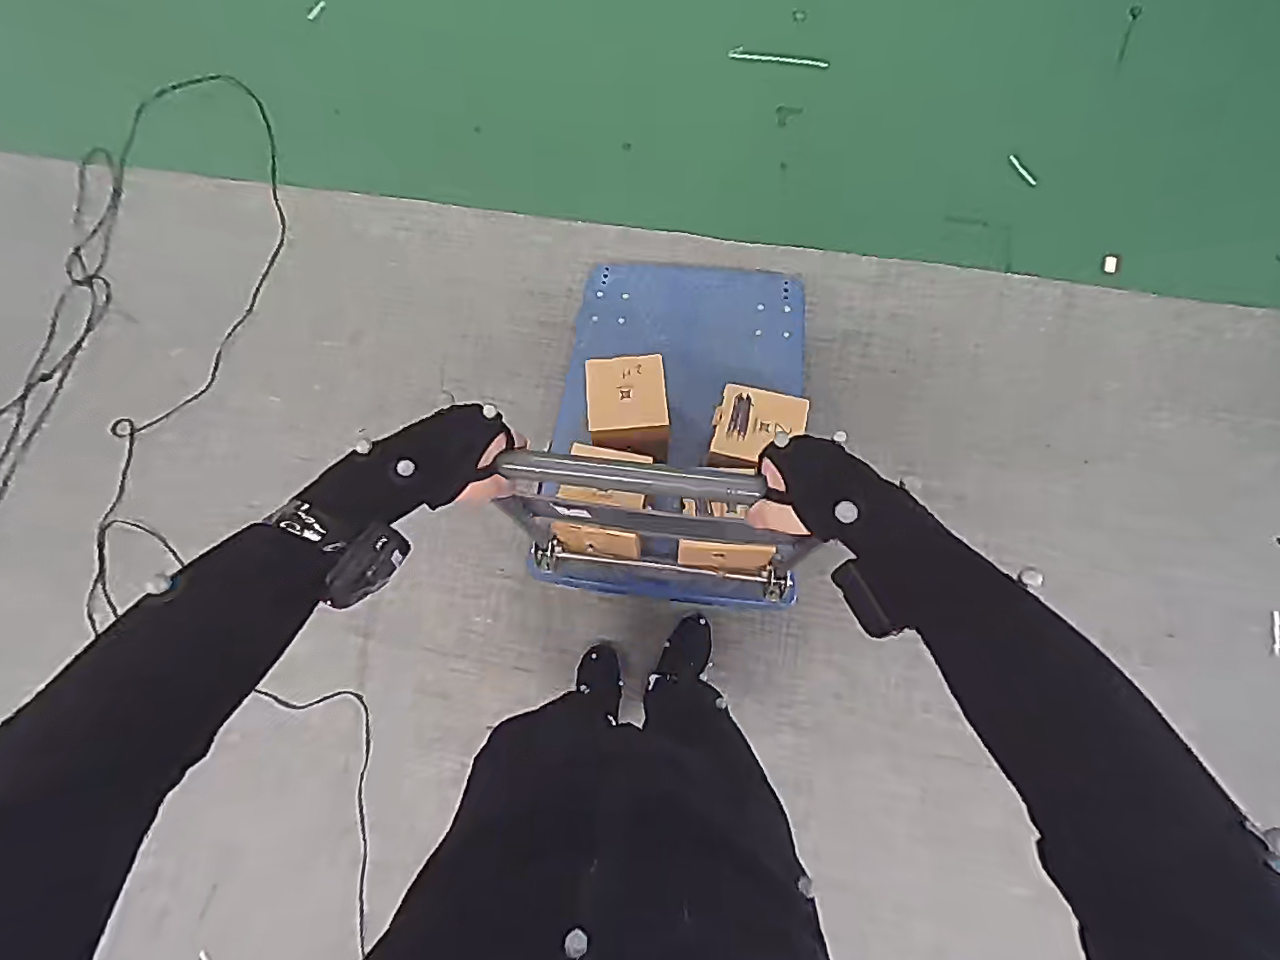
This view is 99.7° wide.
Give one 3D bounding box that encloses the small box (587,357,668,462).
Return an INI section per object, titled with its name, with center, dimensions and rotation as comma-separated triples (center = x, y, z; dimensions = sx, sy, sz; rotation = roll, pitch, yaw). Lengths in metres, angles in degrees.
[small box]
center = -0.026, -0.148, 1.193
dimensions = 0.168, 0.176, 0.179
rotation = -4, 68, -1
